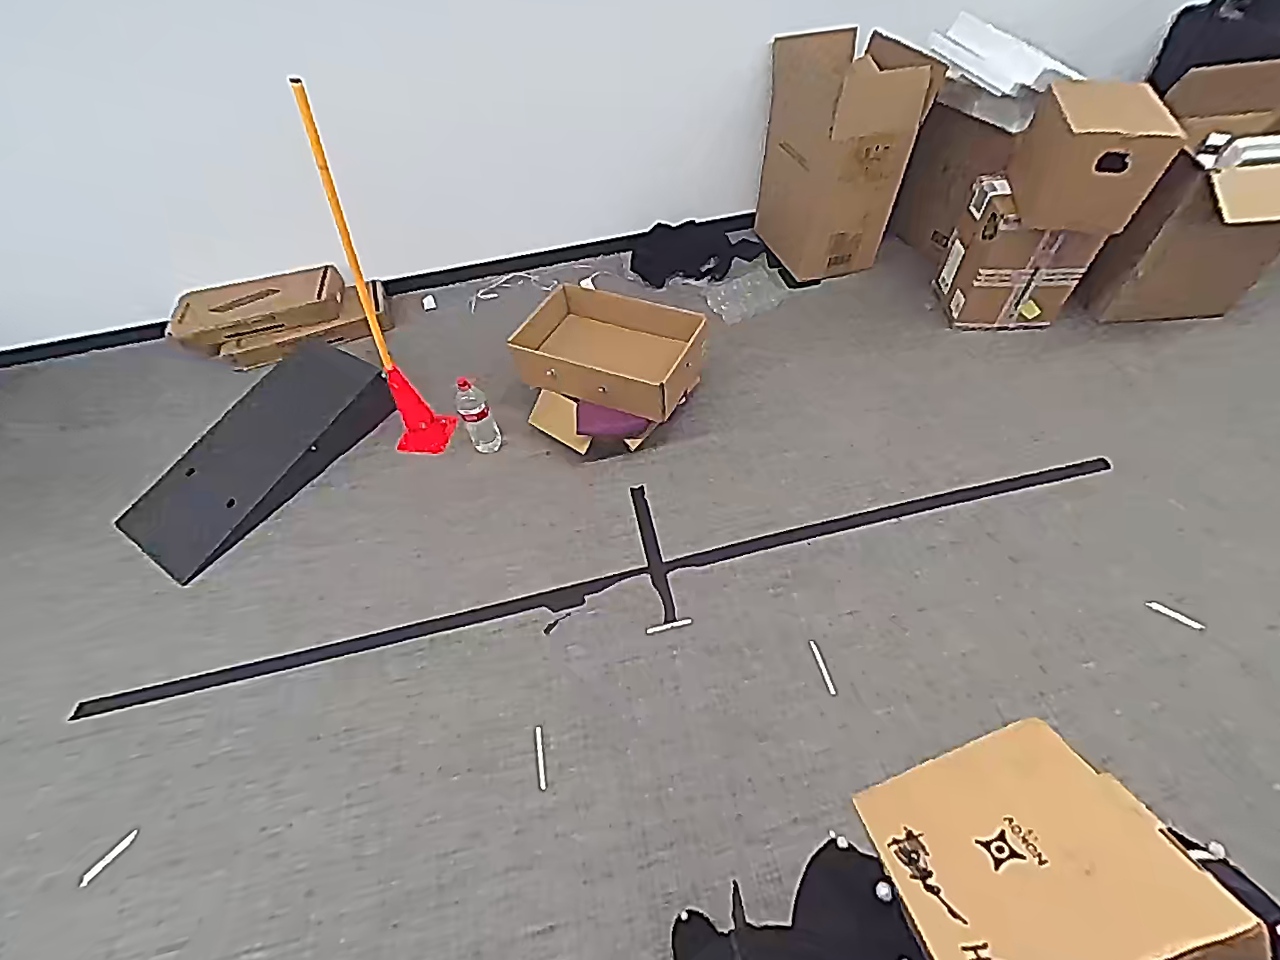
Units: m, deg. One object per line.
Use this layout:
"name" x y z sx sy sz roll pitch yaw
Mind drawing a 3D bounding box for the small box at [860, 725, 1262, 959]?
"small box" 0.308 0.338 0.419 0.179 0.176 0.168 -25 17 4
